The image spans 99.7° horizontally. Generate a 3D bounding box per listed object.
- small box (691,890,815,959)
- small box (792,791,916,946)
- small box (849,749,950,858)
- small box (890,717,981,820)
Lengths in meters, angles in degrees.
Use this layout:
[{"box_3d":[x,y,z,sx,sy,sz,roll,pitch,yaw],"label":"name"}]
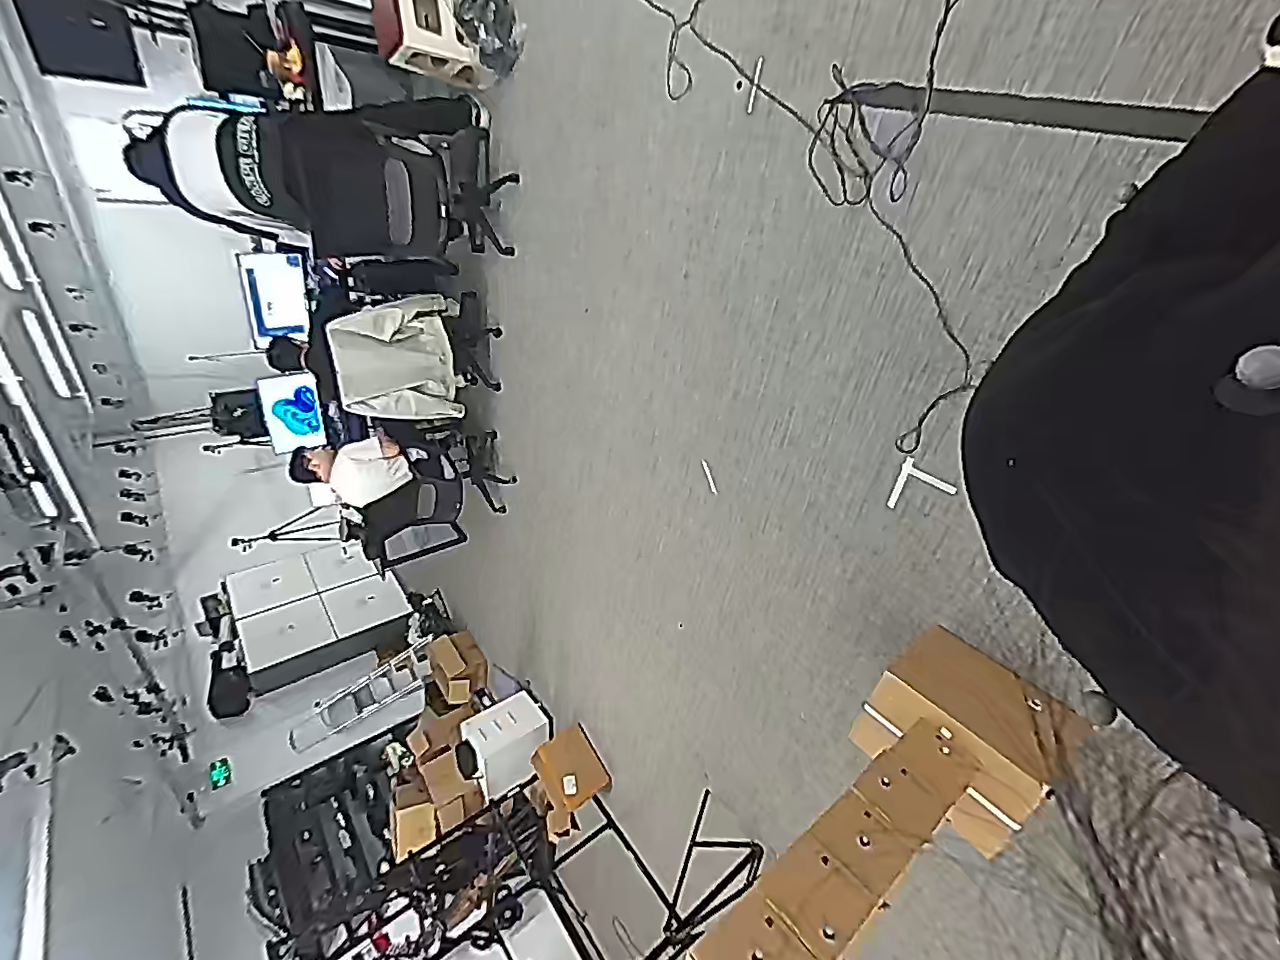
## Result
[{"box_3d":[0.201,0.886,0.952,0.168,0.176,0.179,28,123,45],"label":"small box"},{"box_3d":[0.454,0.811,1.147,0.168,0.176,0.179,32,127,43],"label":"small box"},{"box_3d":[0.579,0.766,1.245,0.168,0.176,0.179,36,131,41],"label":"small box"},{"box_3d":[0.706,0.734,1.340,0.168,0.176,0.179,36,130,39],"label":"small box"}]
